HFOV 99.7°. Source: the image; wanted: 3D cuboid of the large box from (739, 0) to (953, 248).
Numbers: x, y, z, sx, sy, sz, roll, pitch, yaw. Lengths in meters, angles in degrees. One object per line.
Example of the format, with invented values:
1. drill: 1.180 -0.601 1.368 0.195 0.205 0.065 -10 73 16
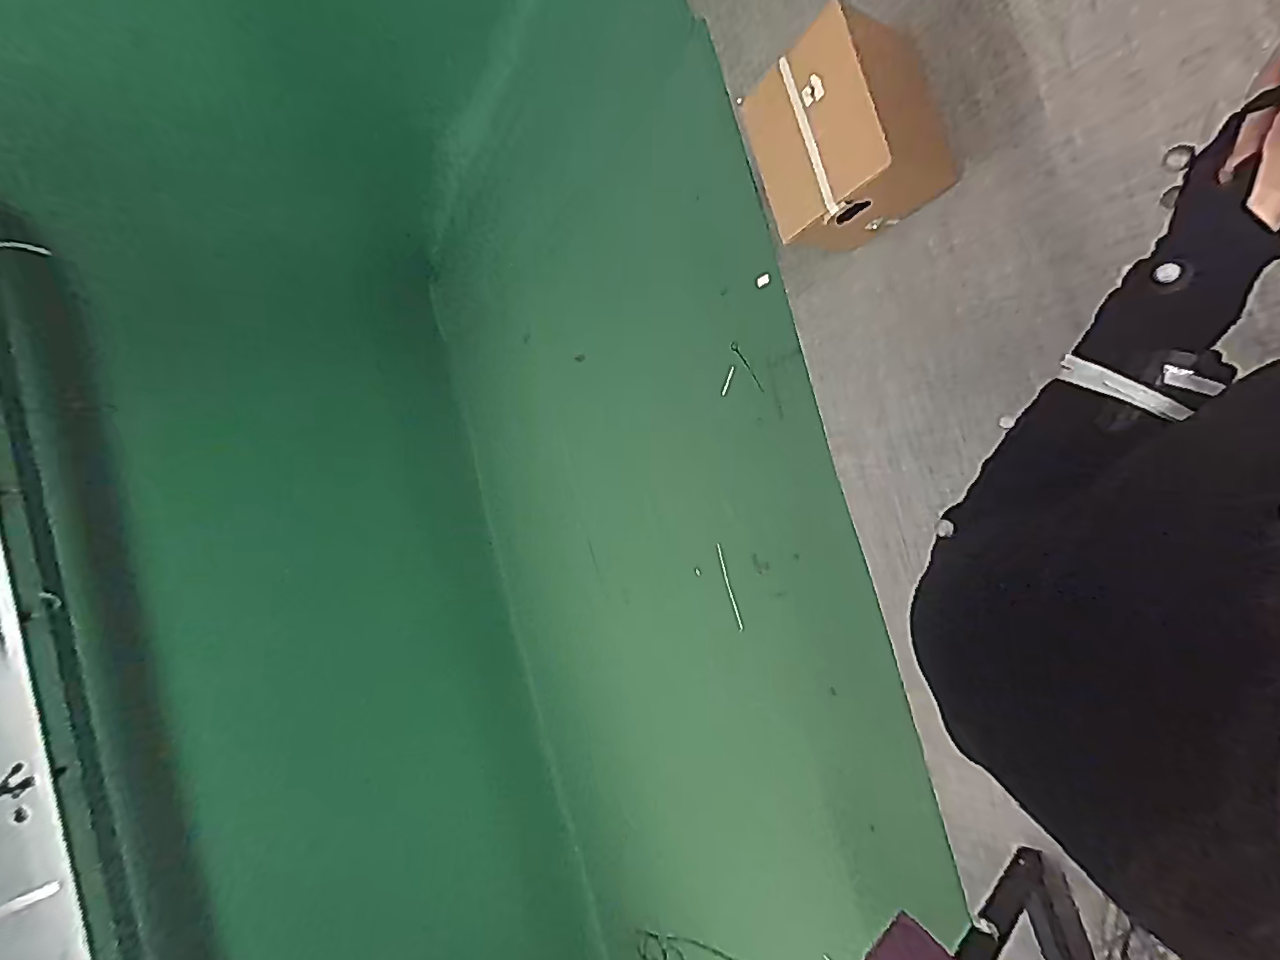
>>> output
1. large box: 0.517 -0.862 1.375 0.320 0.320 0.408 -22 83 54
